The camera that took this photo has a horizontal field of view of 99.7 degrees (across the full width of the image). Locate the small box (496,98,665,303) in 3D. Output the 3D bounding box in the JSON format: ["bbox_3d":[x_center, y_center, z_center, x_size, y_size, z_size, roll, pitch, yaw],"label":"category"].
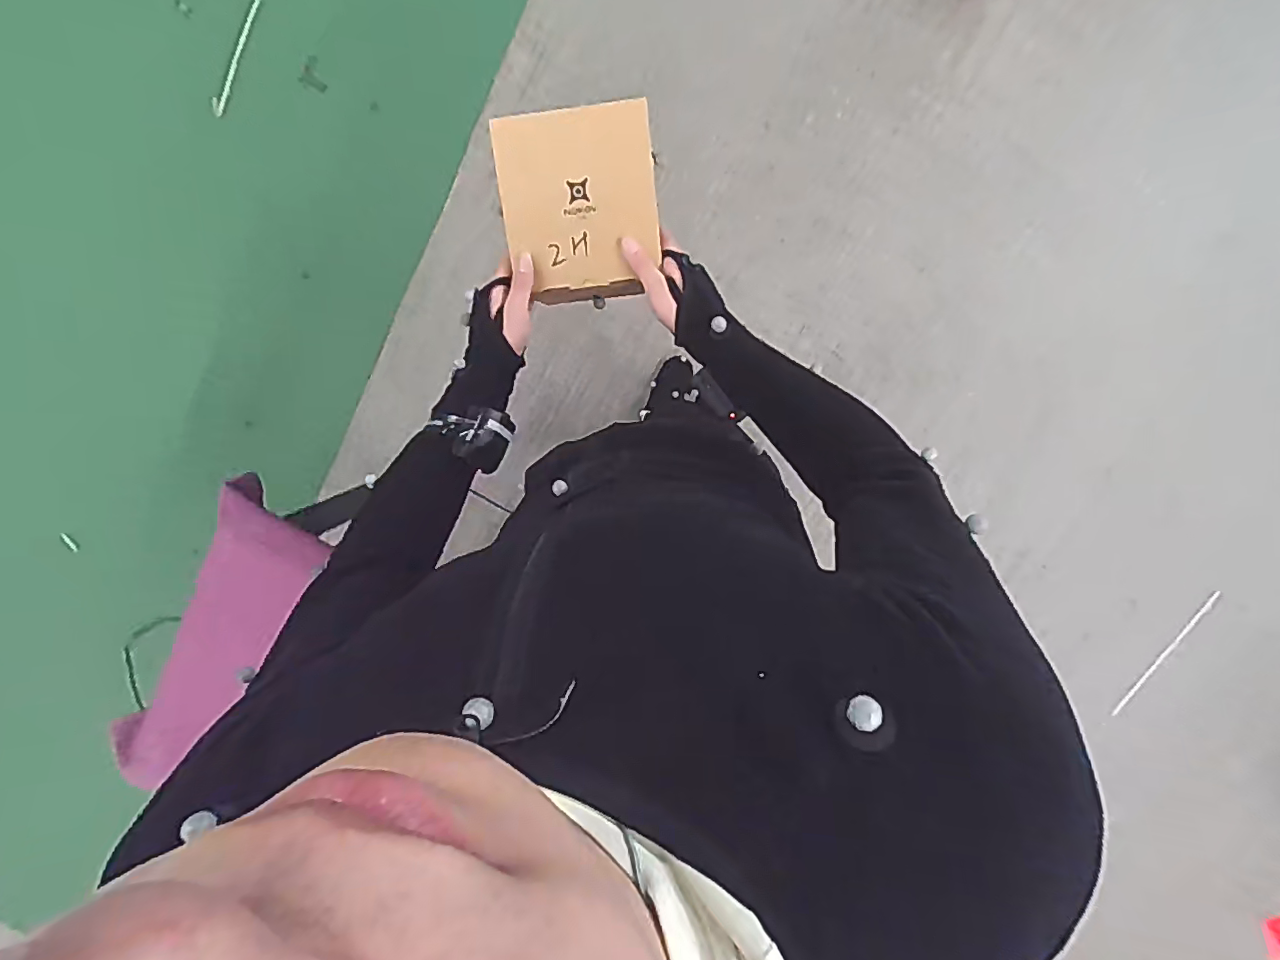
[{"bbox_3d":[-0.060,-0.315,0.646,0.168,0.176,0.179,-5,104,3],"label":"small box"}]
